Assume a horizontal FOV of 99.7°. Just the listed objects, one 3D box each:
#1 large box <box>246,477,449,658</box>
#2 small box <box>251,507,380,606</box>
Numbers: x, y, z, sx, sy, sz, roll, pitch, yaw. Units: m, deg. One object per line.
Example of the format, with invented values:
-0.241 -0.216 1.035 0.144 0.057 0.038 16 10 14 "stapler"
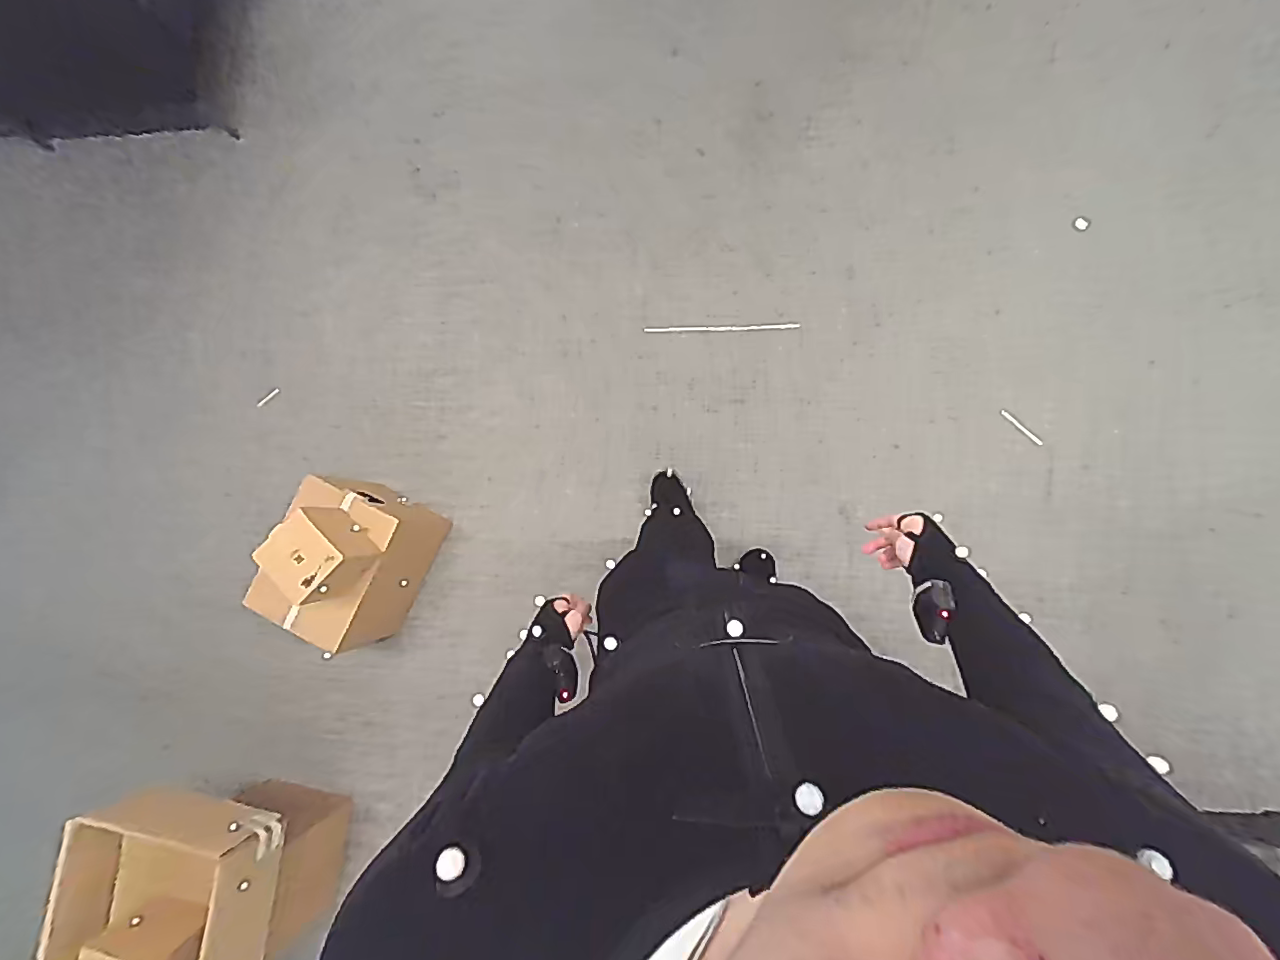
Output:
-0.839 0.240 1.600 0.320 0.320 0.408 25 89 9 "large box"
-0.802 0.189 1.351 0.168 0.176 0.179 -45 82 1 "small box"
